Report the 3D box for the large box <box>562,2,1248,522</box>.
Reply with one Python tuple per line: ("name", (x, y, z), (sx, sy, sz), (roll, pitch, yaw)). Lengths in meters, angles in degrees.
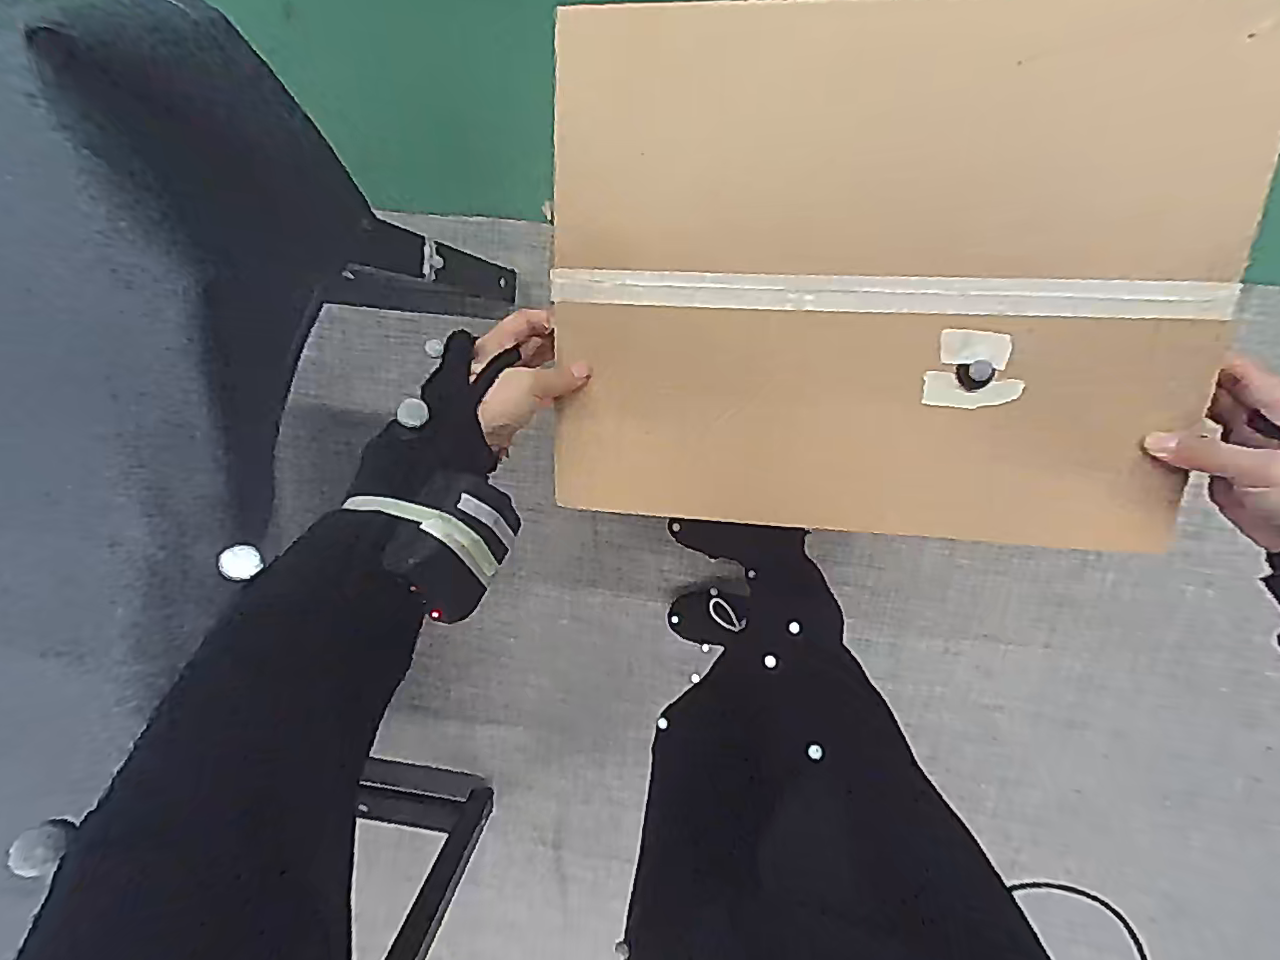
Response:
("large box", (0.159, -0.159, 0.501), (0.408, 0.320, 0.320), (3, 104, 6))
